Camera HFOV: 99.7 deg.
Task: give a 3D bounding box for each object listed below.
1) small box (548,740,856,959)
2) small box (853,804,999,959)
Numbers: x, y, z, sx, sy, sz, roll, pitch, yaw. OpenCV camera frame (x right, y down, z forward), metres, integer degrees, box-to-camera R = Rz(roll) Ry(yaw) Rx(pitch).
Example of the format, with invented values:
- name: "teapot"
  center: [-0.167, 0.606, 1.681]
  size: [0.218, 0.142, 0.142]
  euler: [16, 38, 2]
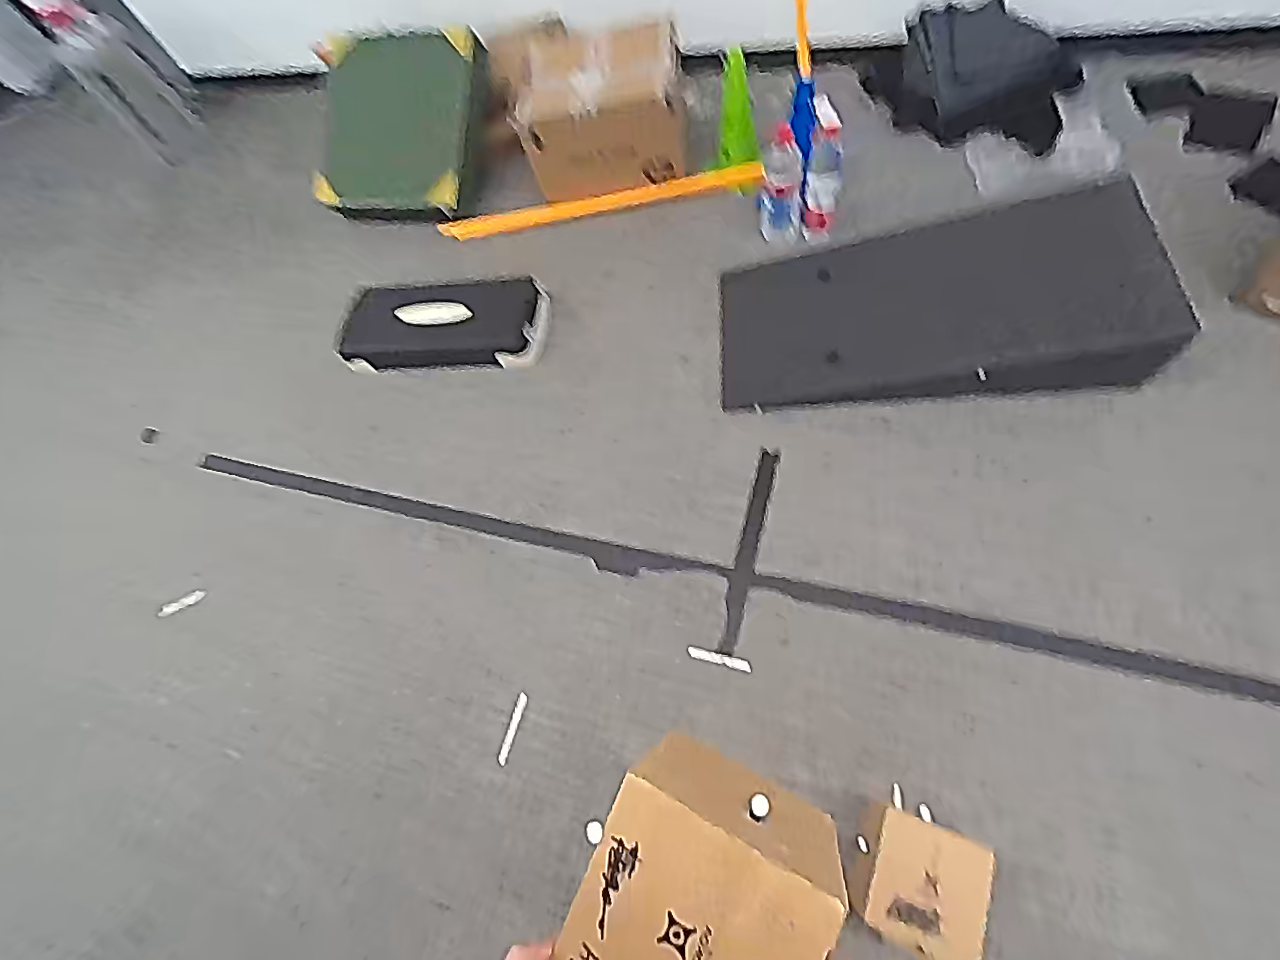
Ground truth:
- name: "small box"
  center: [0.053, 0.344, 0.448]
  size: [0.179, 0.176, 0.168]
  euler: [22, 82, 18]
- name: "small box"
  center: [0.473, 0.682, 0.916]
  size: [0.168, 0.176, 0.179]
  euler: [18, 69, 18]
